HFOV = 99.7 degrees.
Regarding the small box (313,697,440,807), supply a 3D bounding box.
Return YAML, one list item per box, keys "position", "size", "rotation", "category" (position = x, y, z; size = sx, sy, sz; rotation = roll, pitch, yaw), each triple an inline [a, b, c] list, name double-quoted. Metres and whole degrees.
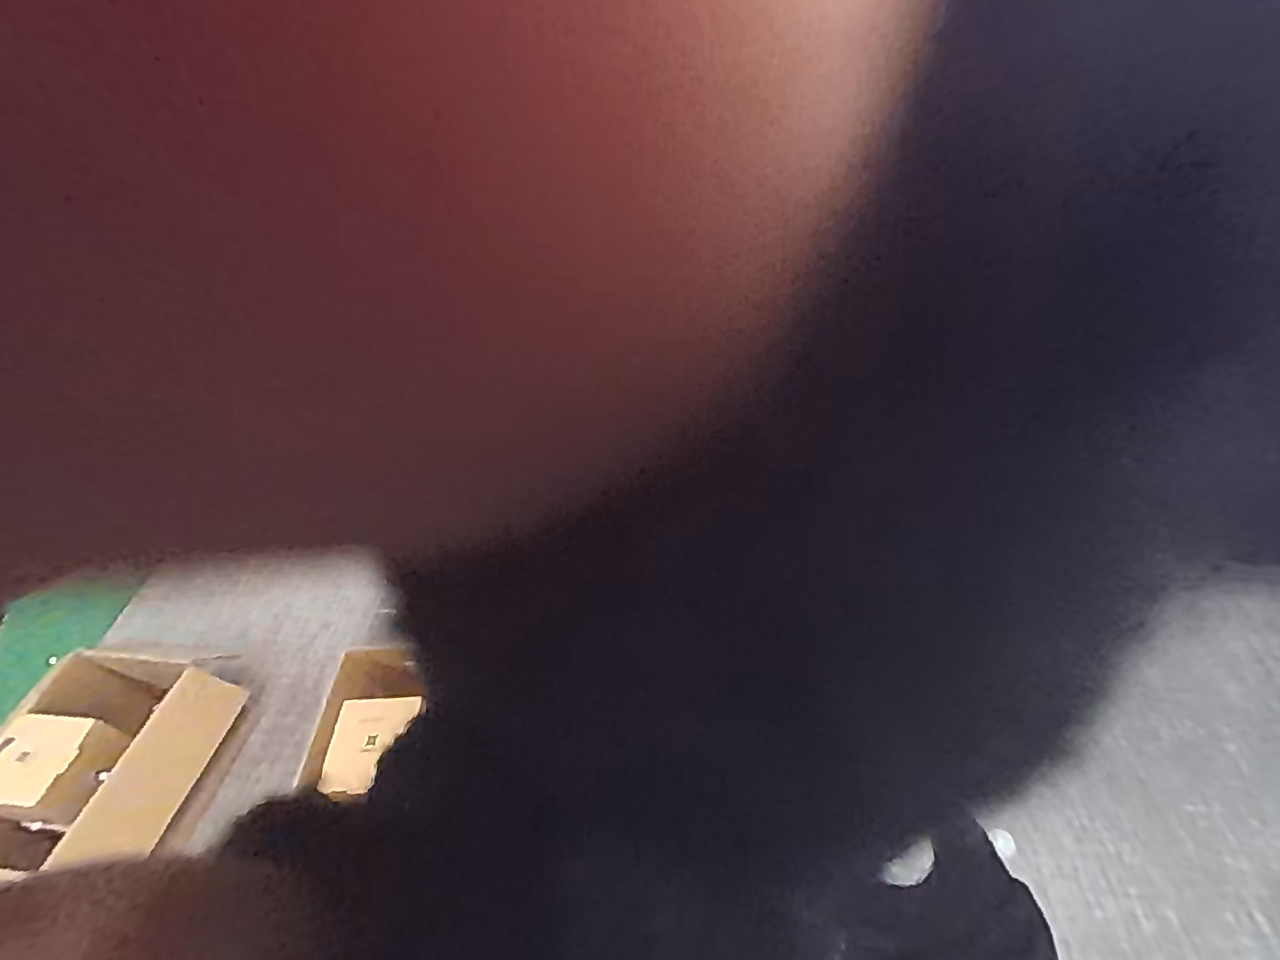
- position: [-0.537, 0.574, 1.133]
  size: [0.168, 0.176, 0.179]
  rotation: [-2, 49, 0]
  category: "small box"
